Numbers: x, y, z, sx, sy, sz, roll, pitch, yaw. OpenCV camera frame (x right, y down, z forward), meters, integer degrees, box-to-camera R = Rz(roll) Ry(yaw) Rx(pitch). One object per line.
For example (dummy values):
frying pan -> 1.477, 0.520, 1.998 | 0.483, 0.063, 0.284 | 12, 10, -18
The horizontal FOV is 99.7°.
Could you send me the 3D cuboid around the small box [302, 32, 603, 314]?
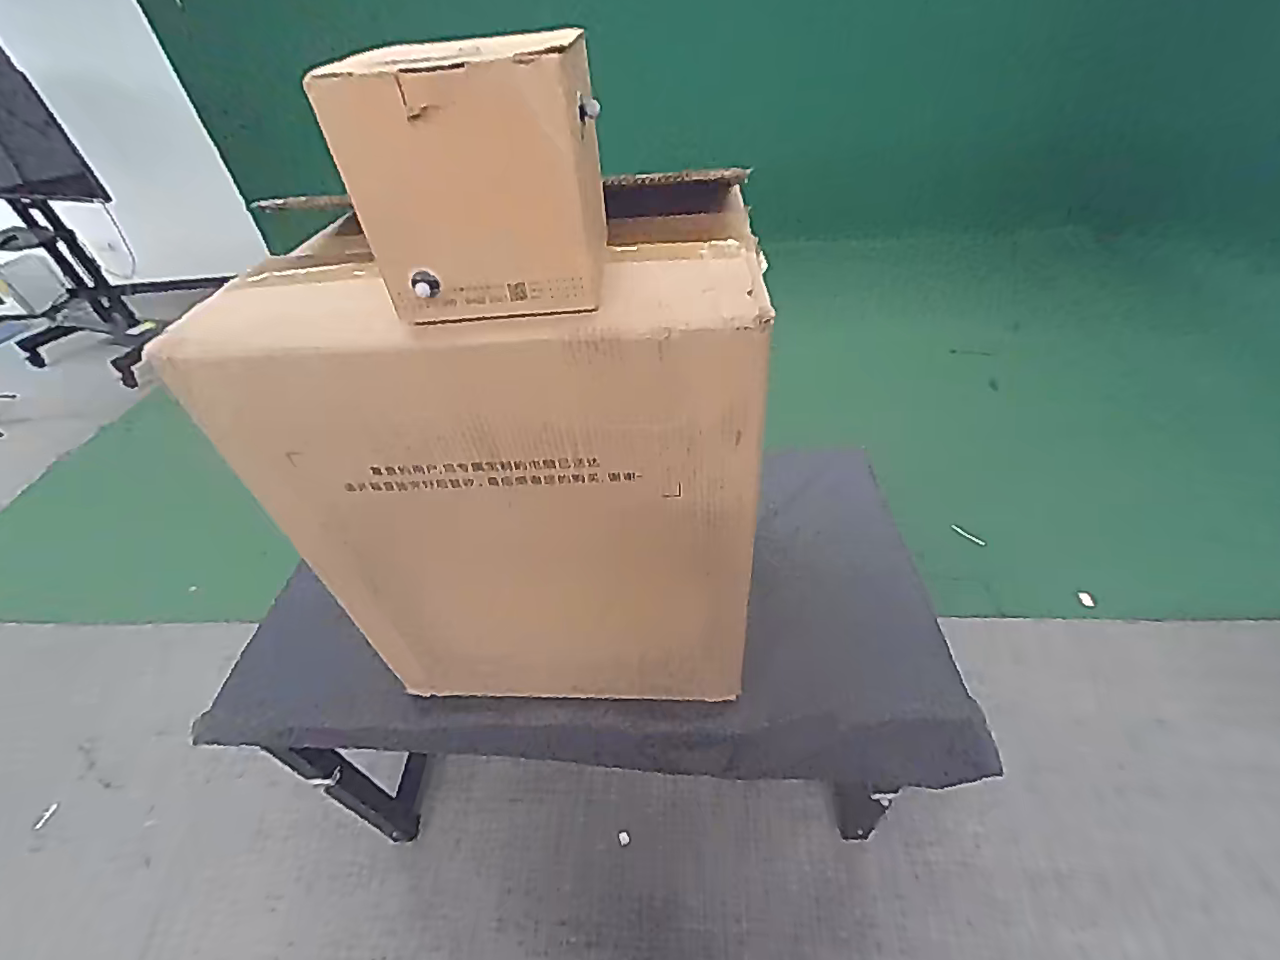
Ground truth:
small box -> -0.125, -0.248, 0.449 | 0.168, 0.176, 0.179 | -3, 43, 4
